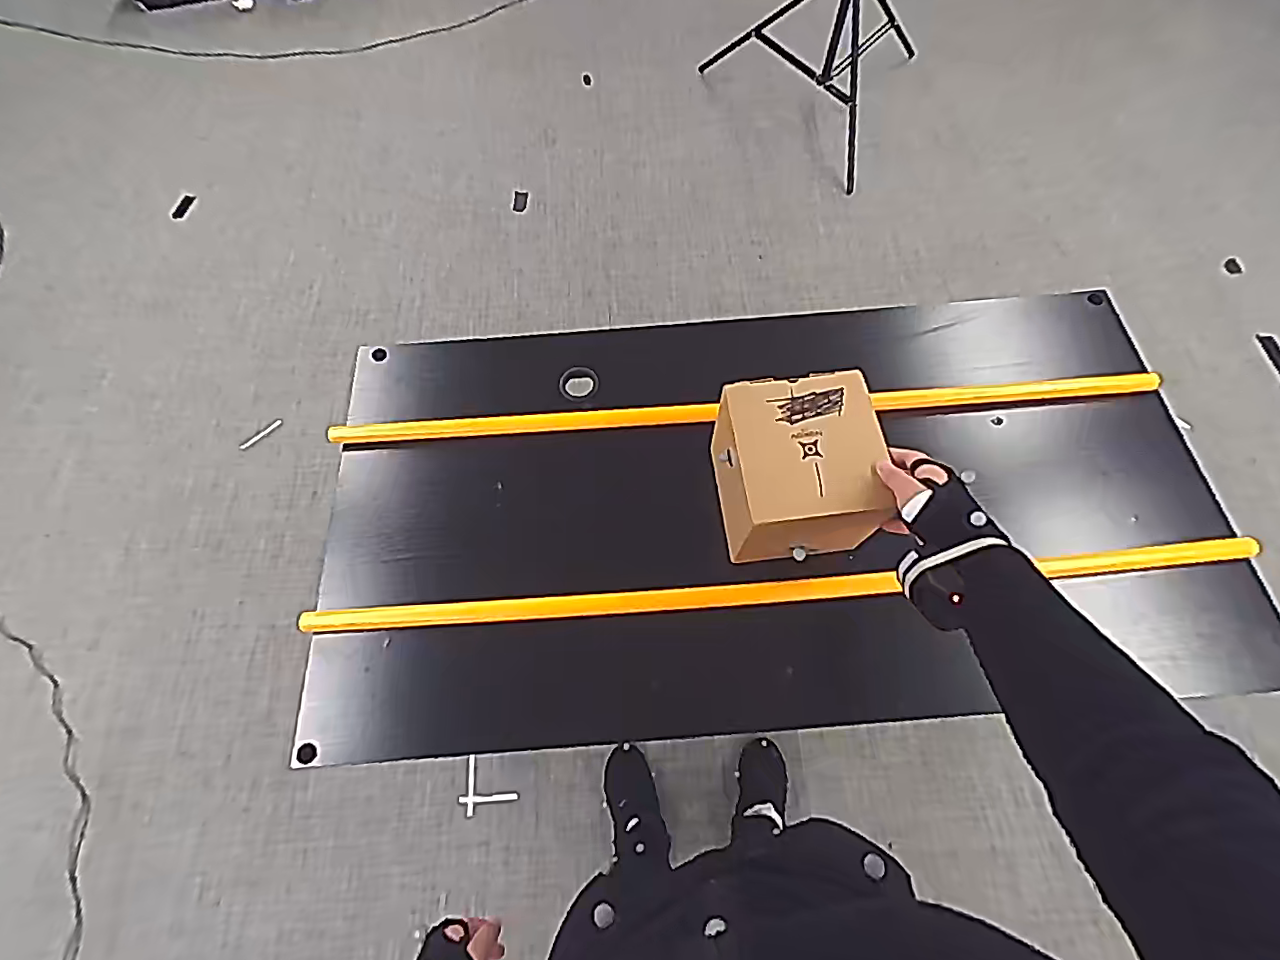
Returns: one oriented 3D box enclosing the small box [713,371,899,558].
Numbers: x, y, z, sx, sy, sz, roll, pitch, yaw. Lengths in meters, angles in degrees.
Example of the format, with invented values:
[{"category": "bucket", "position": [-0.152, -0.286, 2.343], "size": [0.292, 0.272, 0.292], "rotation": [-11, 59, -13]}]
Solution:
[{"category": "small box", "position": [0.191, -0.013, 0.683], "size": [0.168, 0.176, 0.179], "rotation": [-7, 67, -1]}]
